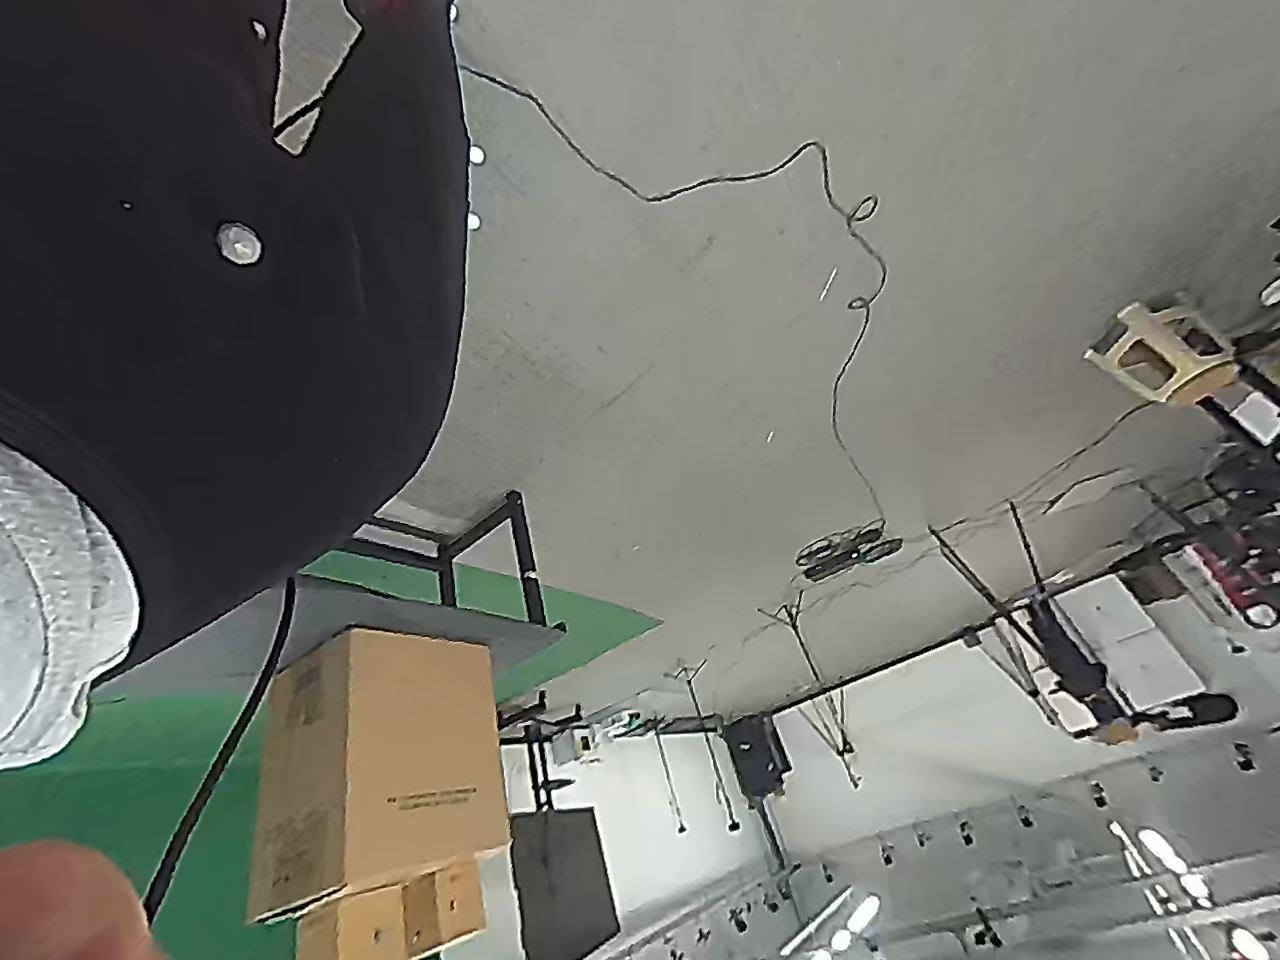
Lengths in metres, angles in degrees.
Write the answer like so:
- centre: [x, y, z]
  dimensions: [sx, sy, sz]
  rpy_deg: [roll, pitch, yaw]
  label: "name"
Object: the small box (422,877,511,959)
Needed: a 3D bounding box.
- centre: [-0.495, 1.242, 1.513]
  dimensions: [0.179, 0.176, 0.168]
  rpy_deg: [-35, 143, 14]
  label: "small box"
